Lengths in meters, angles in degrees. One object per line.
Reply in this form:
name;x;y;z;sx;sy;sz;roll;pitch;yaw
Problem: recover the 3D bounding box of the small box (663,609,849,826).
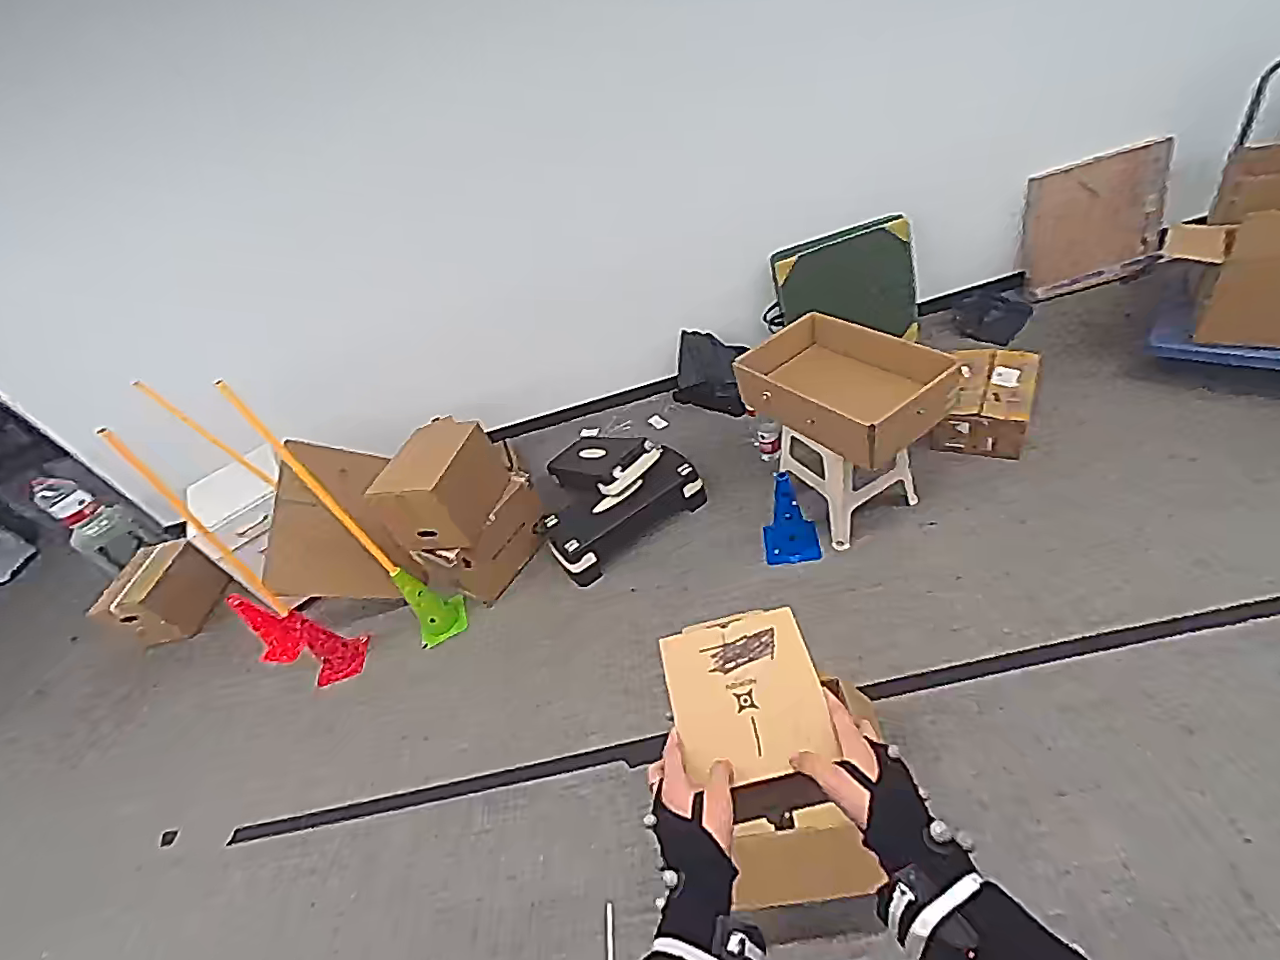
small box;0.134;0.289;0.655;0.168;0.176;0.179;-16;46;3
